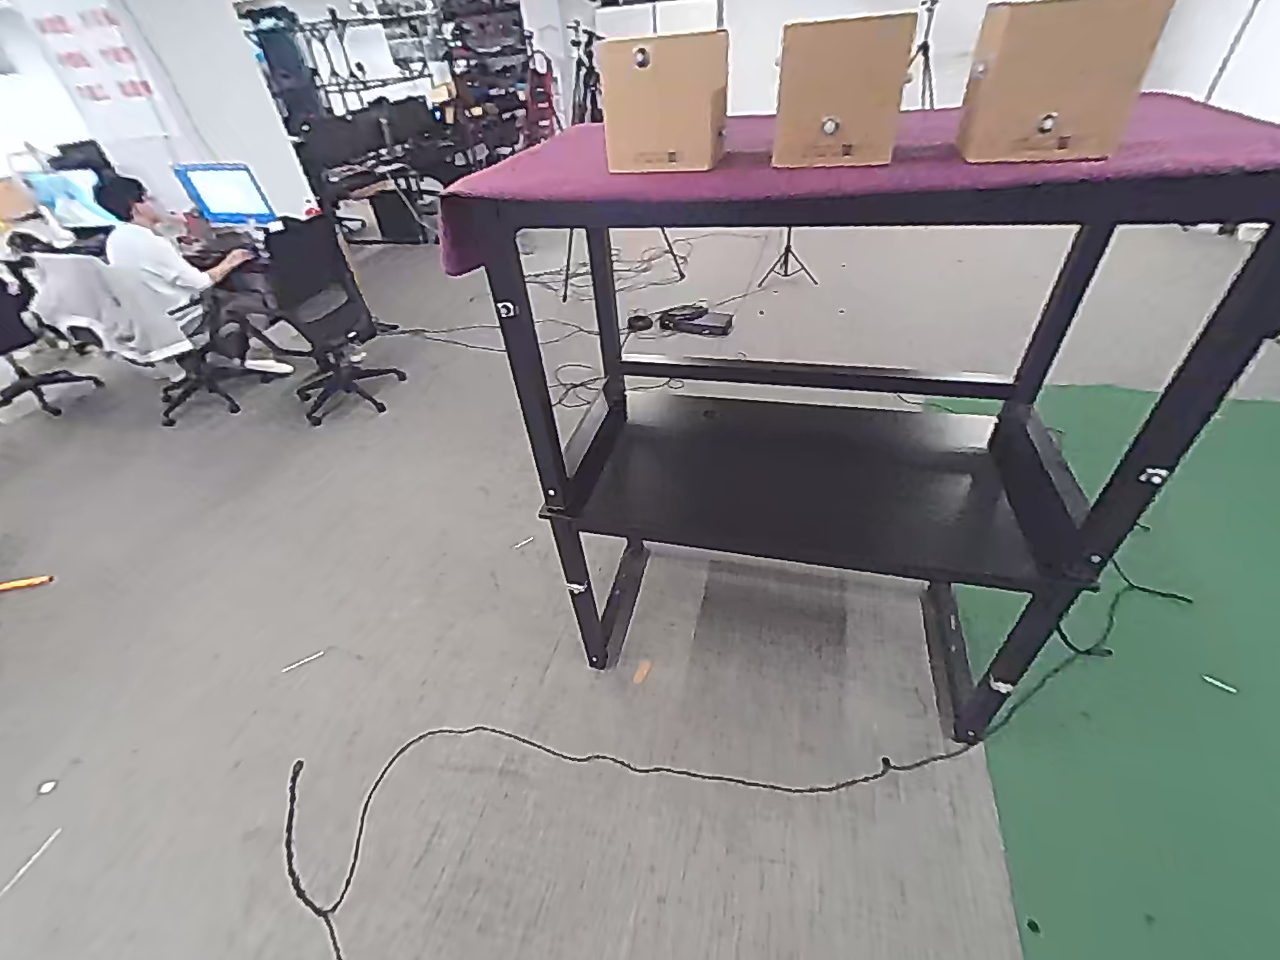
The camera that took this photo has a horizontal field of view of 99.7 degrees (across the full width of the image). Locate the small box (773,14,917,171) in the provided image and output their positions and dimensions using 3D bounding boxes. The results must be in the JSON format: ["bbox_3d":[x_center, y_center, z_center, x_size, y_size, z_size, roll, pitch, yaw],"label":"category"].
[{"bbox_3d":[0.291,-0.566,0.793,0.168,0.176,0.179,7,41,15],"label":"small box"}]

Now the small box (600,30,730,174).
[{"bbox_3d":[0.046,-0.594,0.854,0.168,0.176,0.179,6,39,14],"label":"small box"}]
